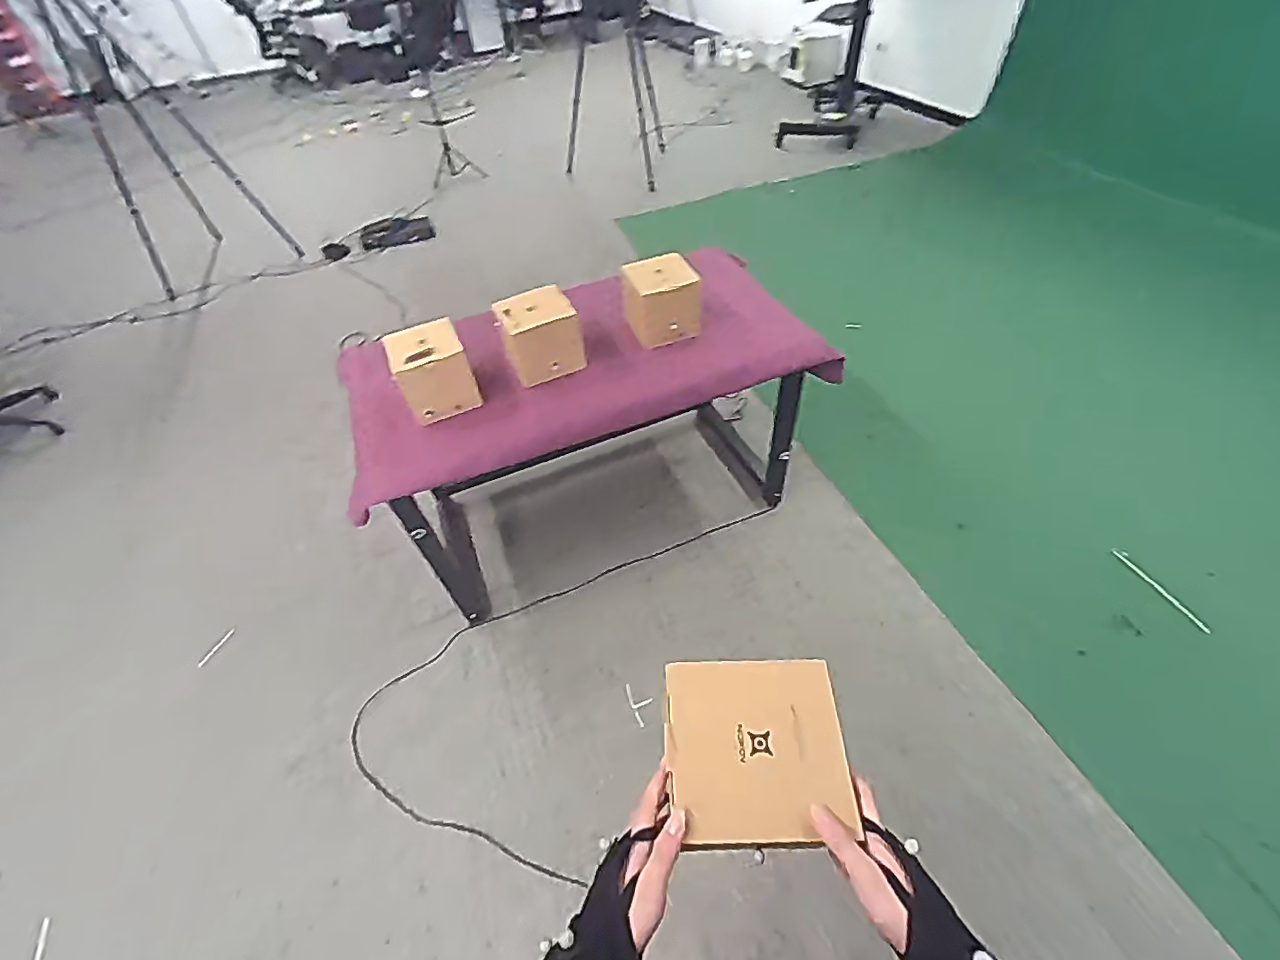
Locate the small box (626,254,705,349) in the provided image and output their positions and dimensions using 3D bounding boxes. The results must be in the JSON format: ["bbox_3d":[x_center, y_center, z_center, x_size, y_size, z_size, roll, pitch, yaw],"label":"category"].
[{"bbox_3d":[0.069,-0.491,1.493,0.168,0.176,0.179,-18,50,-9],"label":"small box"}]

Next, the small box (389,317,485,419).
[{"bbox_3d":[-0.504,-0.273,1.355,0.168,0.176,0.179,-22,50,-14],"label":"small box"}]

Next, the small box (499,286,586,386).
[{"bbox_3d":[-0.250,-0.377,1.423,0.179,0.176,0.168,-22,51,-14],"label":"small box"}]

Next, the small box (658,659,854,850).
[{"bbox_3d":[0.110,0.307,0.599,0.179,0.176,0.168,-1,54,0],"label":"small box"}]
